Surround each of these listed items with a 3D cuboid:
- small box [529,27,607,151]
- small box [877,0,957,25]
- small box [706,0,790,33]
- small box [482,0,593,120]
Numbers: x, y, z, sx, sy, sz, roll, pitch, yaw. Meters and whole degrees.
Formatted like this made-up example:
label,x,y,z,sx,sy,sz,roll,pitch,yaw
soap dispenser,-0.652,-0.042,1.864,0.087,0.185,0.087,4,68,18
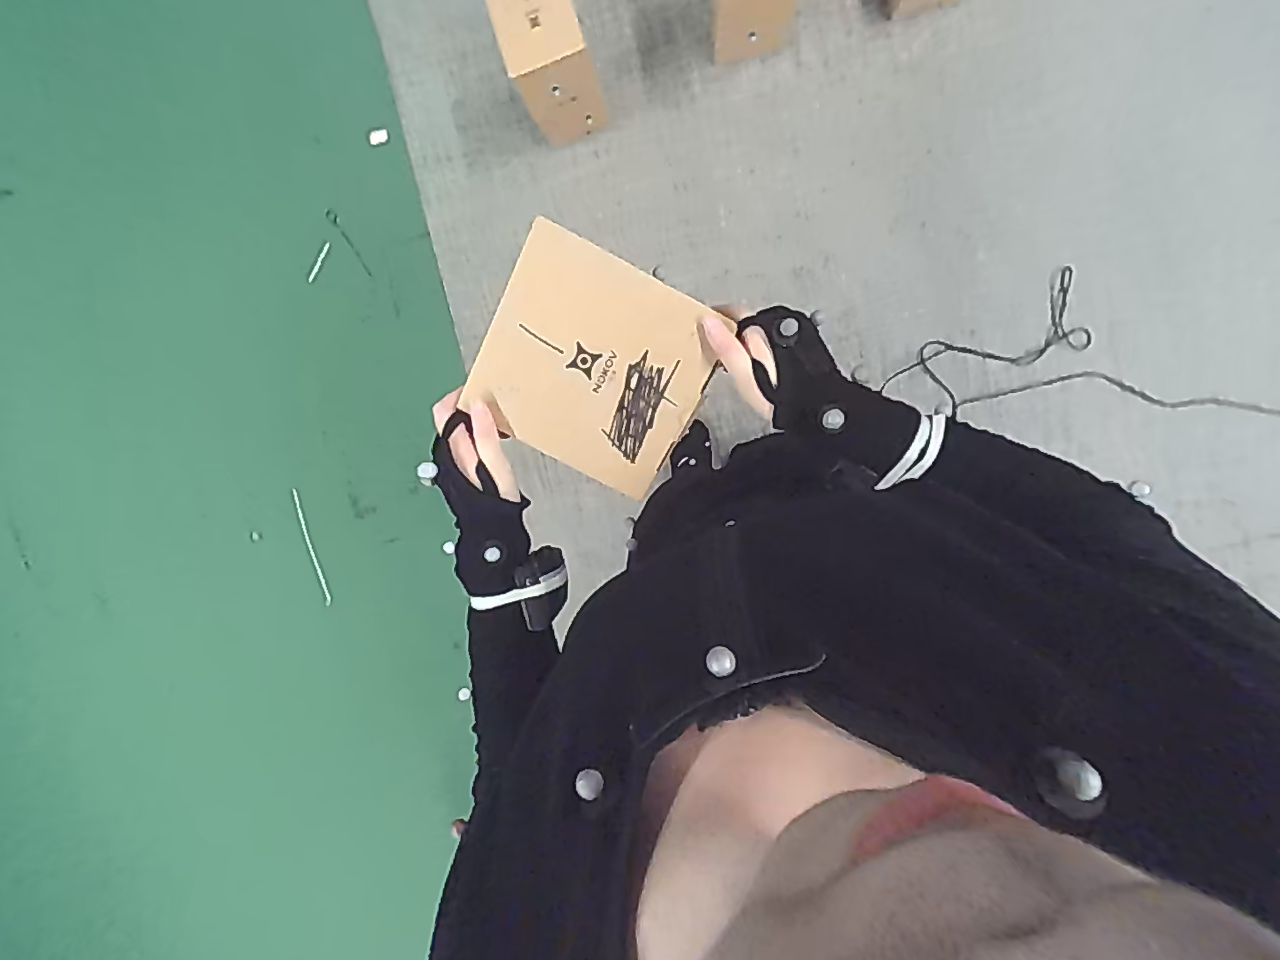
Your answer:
label,x,y,z,sx,sy,sz,roll,pitch,yaw
small box,-0.189,-0.941,1.323,0.168,0.176,0.179,-14,96,8
small box,0.630,-1.154,1.190,0.168,0.176,0.179,-10,98,8
small box,0.215,-1.055,1.089,0.179,0.176,0.168,-9,97,8
small box,-0.210,-0.914,1.162,0.168,0.176,0.179,-15,96,8
